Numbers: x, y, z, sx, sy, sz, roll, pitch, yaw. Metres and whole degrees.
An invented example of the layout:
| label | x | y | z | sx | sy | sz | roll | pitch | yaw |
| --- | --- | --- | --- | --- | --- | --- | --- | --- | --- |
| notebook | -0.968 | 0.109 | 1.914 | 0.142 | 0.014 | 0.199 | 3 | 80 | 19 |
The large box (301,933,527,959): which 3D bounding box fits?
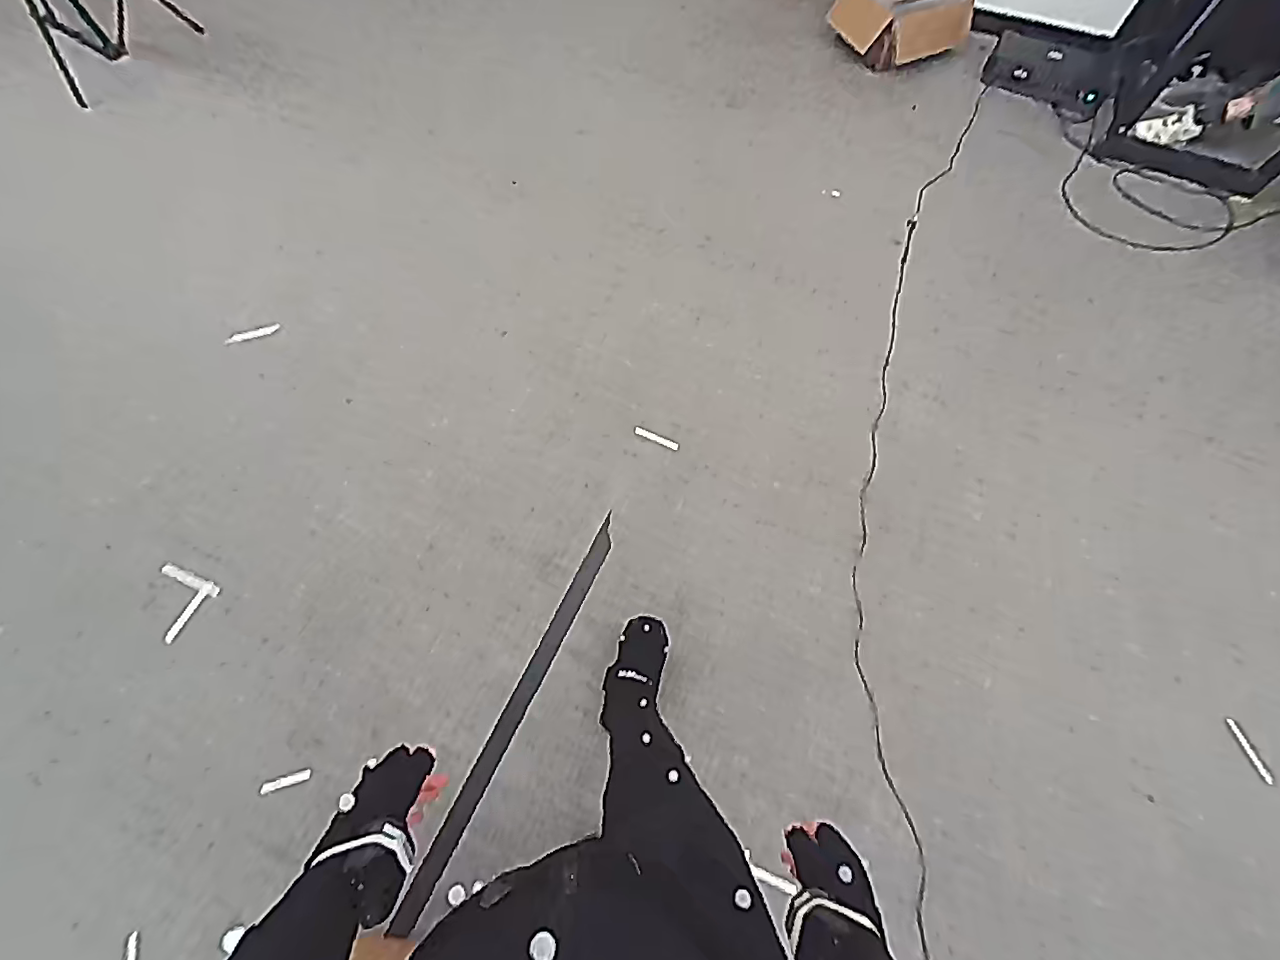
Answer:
| label | x | y | z | sx | sy | sz | roll | pitch | yaw |
| --- | --- | --- | --- | --- | --- | --- | --- | --- | --- |
| large box | -0.435 | 1.020 | 0.920 | 0.408 | 0.320 | 0.320 | 5 | 66 | 0 |
